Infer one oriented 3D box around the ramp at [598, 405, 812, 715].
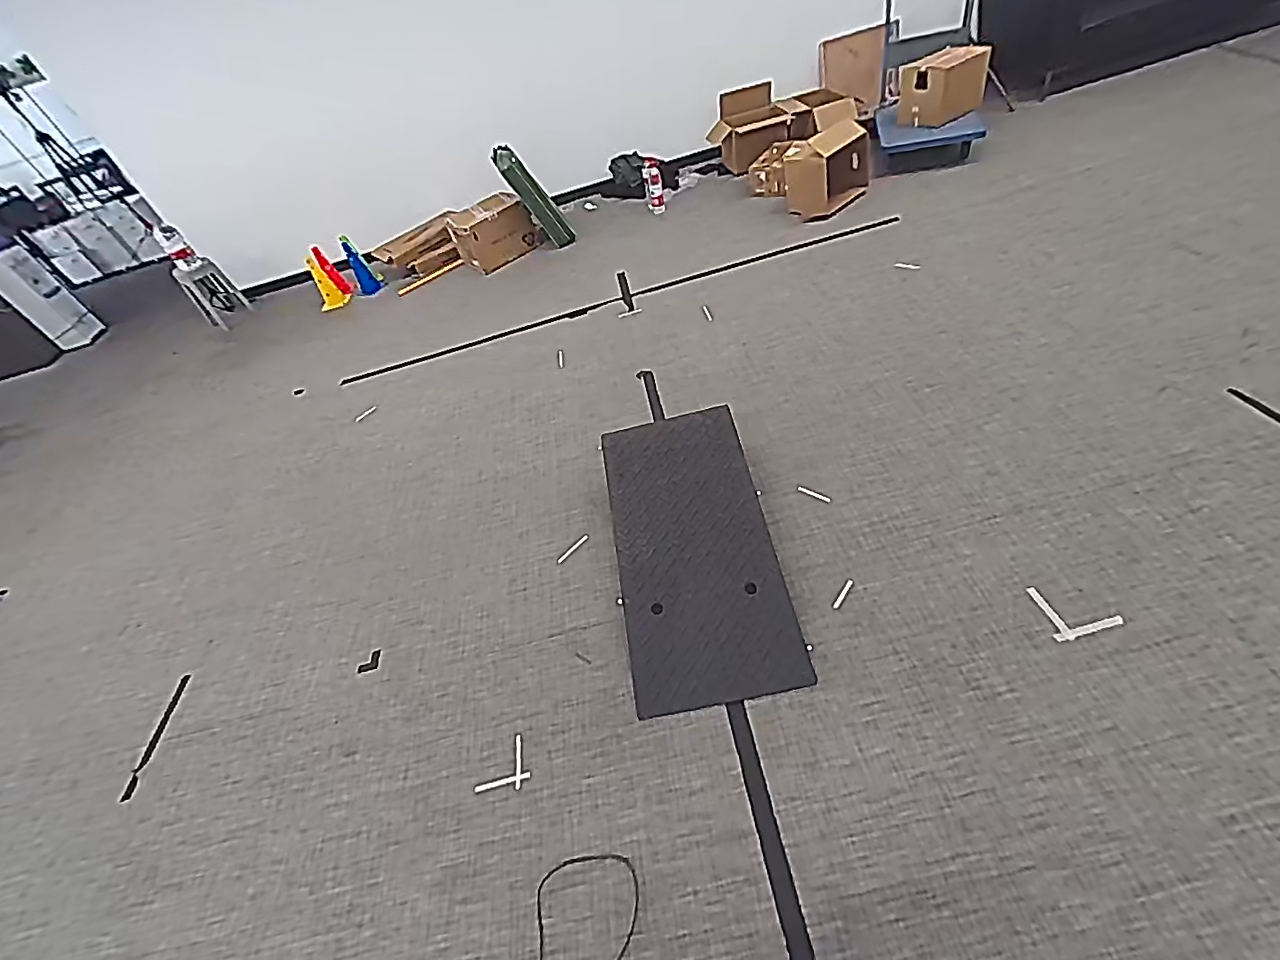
[{"bbox_3d":[0.154,0.184,1.731,0.509,0.206,0.991,-14,45,3],"label":"ramp"}]
